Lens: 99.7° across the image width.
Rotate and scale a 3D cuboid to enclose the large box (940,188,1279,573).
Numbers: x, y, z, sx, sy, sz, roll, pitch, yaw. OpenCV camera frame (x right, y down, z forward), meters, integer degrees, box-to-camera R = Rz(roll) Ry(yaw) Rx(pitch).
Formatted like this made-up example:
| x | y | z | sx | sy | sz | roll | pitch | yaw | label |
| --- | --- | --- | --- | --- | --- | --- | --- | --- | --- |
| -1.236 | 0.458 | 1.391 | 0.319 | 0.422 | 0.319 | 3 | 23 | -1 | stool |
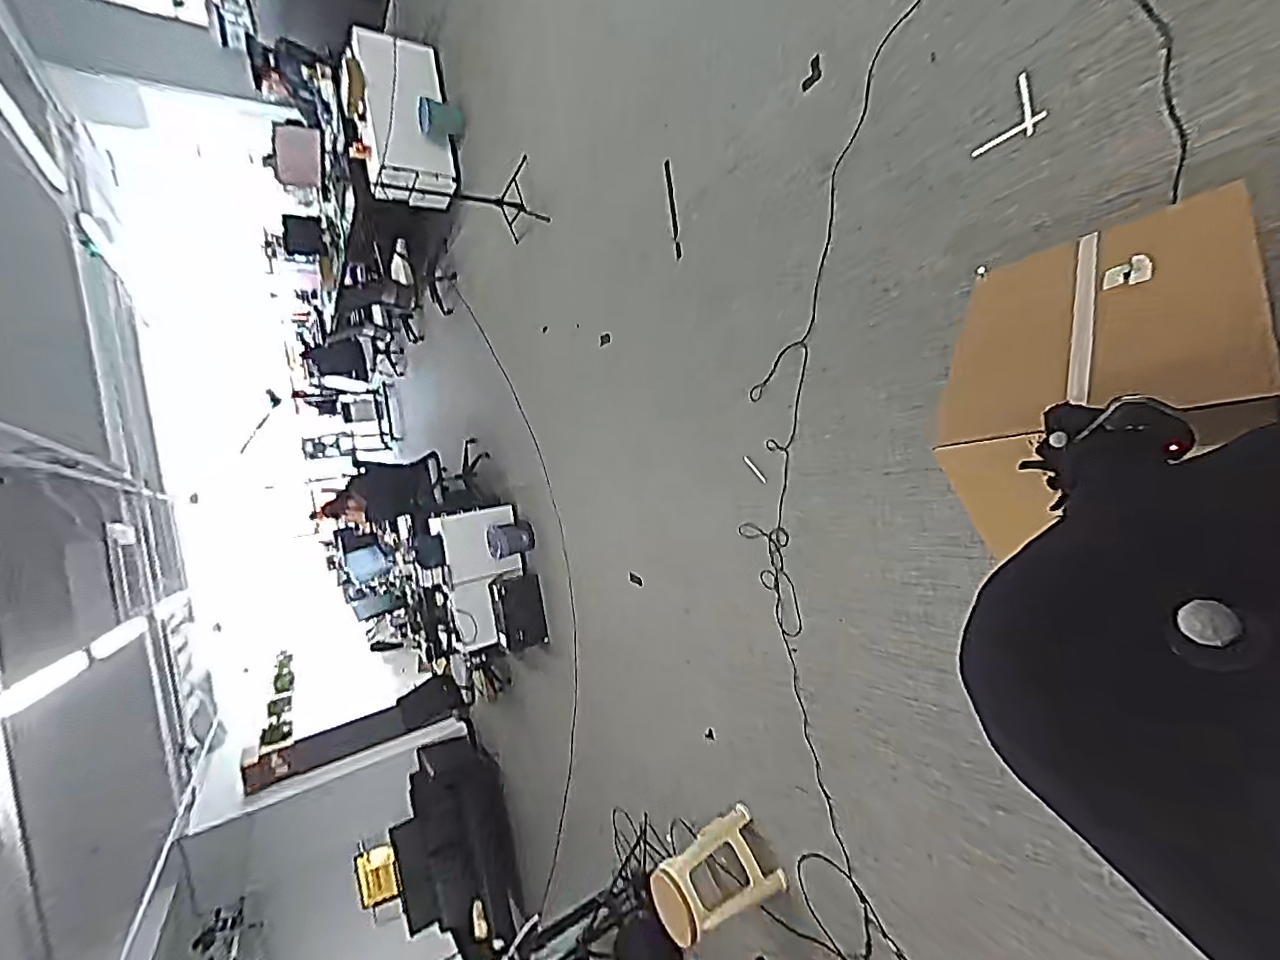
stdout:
| x | y | z | sx | sy | sz | roll | pitch | yaw | label |
| --- | --- | --- | --- | --- | --- | --- | --- | --- | --- |
| 0.686 | -0.115 | 0.779 | 0.320 | 0.408 | 0.320 | 46 | 149 | -25 | large box |
